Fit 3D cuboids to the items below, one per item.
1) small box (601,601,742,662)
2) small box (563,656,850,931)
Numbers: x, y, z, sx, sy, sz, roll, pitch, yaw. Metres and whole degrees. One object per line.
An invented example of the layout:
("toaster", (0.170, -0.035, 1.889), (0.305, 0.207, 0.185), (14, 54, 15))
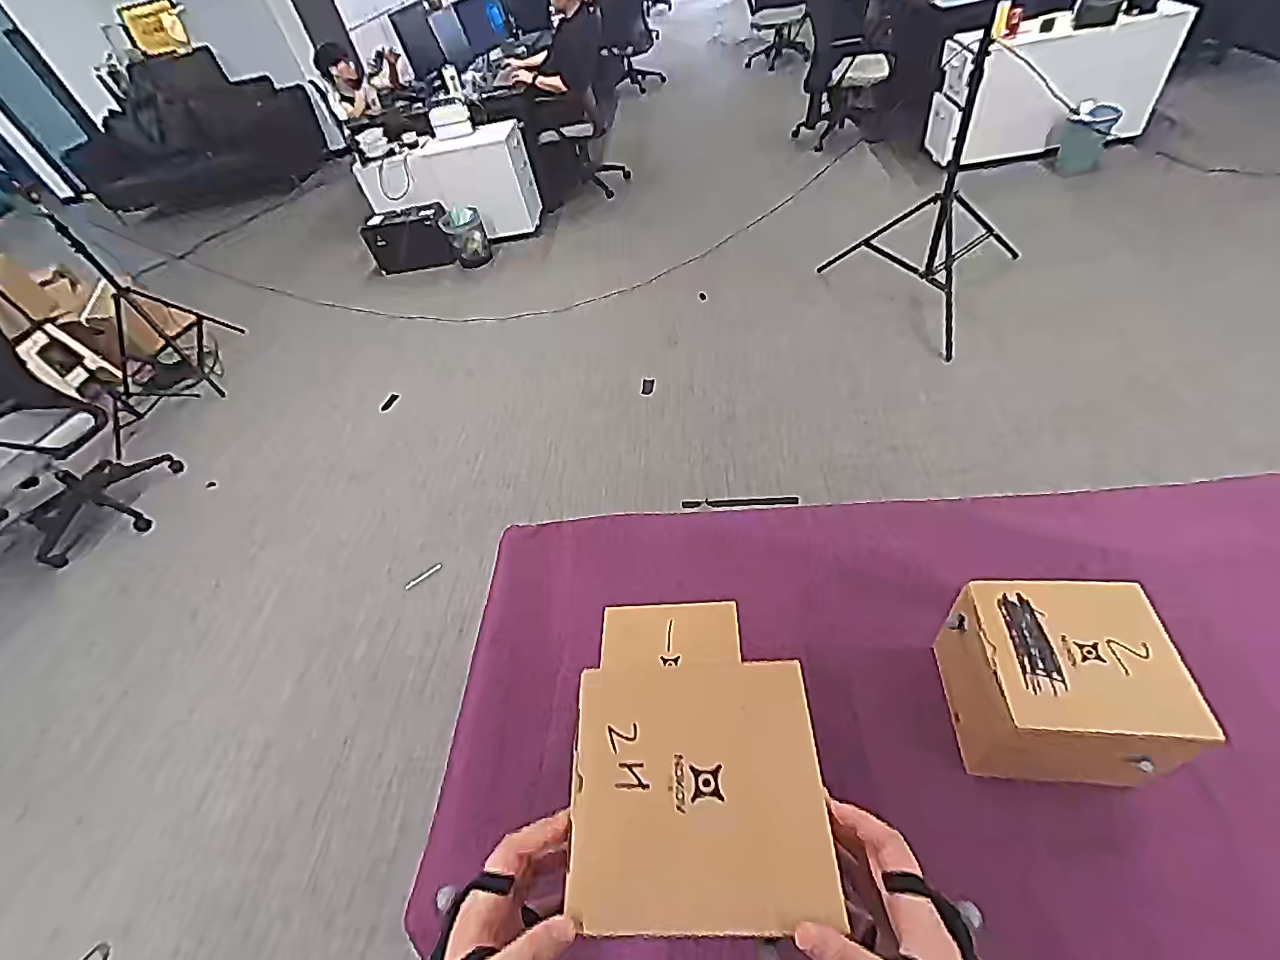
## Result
("small box", (0.047, 0.271, 0.672), (0.168, 0.176, 0.179), (-5, 48, 8))
("small box", (0.048, 0.255, 0.436), (0.179, 0.176, 0.168), (-4, 50, 5))
